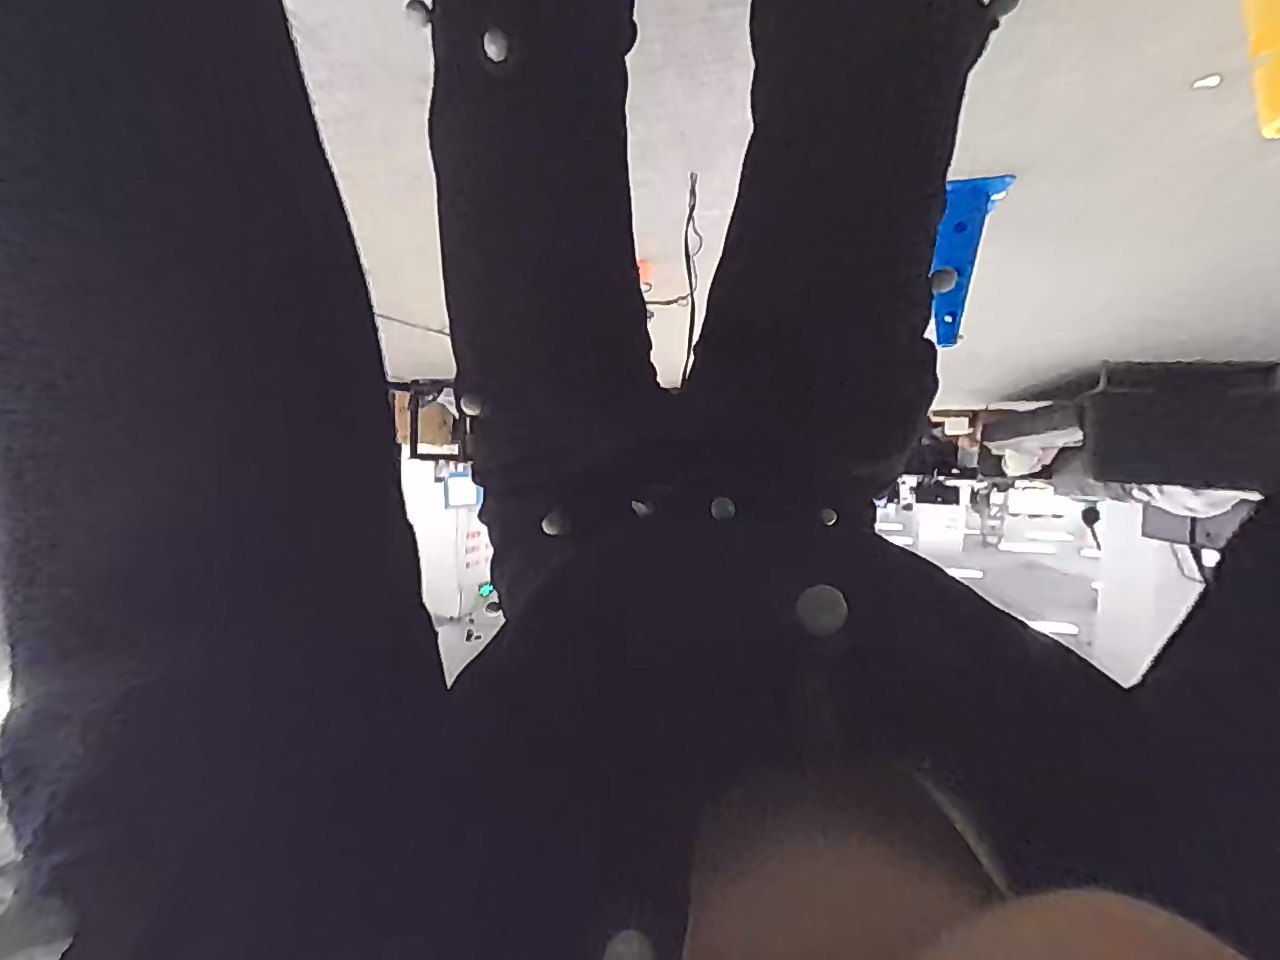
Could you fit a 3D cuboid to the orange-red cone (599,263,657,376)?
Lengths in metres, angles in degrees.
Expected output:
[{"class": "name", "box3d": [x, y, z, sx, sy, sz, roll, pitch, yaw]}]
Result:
[{"class": "orange-red cone", "box3d": [-0.056, -0.546, 1.896, 0.199, 0.360, 0.198, 4, -179, -4]}]
